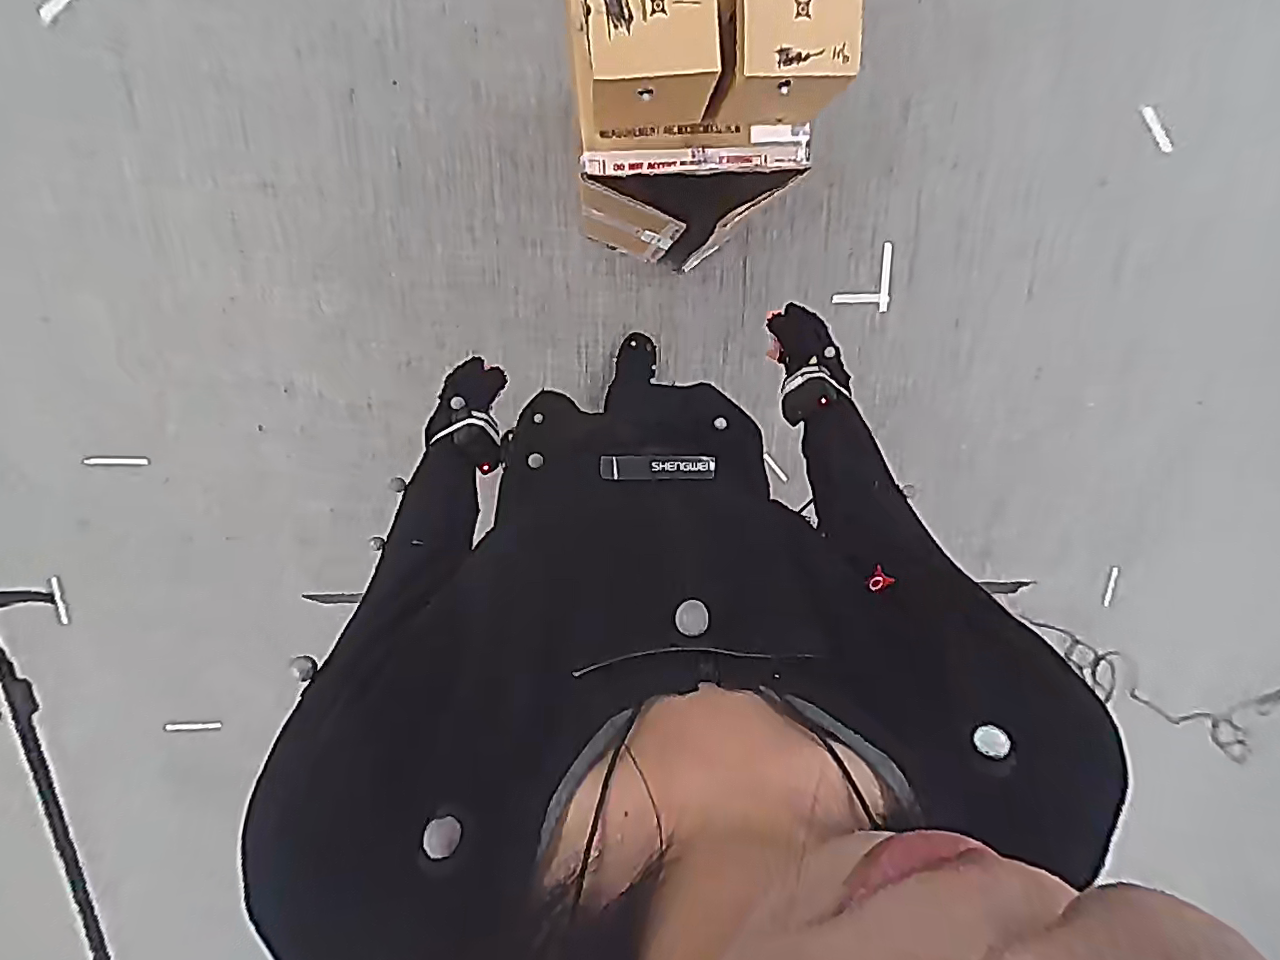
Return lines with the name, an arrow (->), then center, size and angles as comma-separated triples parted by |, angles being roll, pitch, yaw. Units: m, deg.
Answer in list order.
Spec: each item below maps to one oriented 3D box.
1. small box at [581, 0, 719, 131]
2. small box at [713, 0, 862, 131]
small box -> 0.009, -0.629, 0.780 | 0.179, 0.176, 0.168 | -6, 103, -2
small box -> 0.206, -0.646, 0.794 | 0.168, 0.176, 0.179 | -4, 103, -6
